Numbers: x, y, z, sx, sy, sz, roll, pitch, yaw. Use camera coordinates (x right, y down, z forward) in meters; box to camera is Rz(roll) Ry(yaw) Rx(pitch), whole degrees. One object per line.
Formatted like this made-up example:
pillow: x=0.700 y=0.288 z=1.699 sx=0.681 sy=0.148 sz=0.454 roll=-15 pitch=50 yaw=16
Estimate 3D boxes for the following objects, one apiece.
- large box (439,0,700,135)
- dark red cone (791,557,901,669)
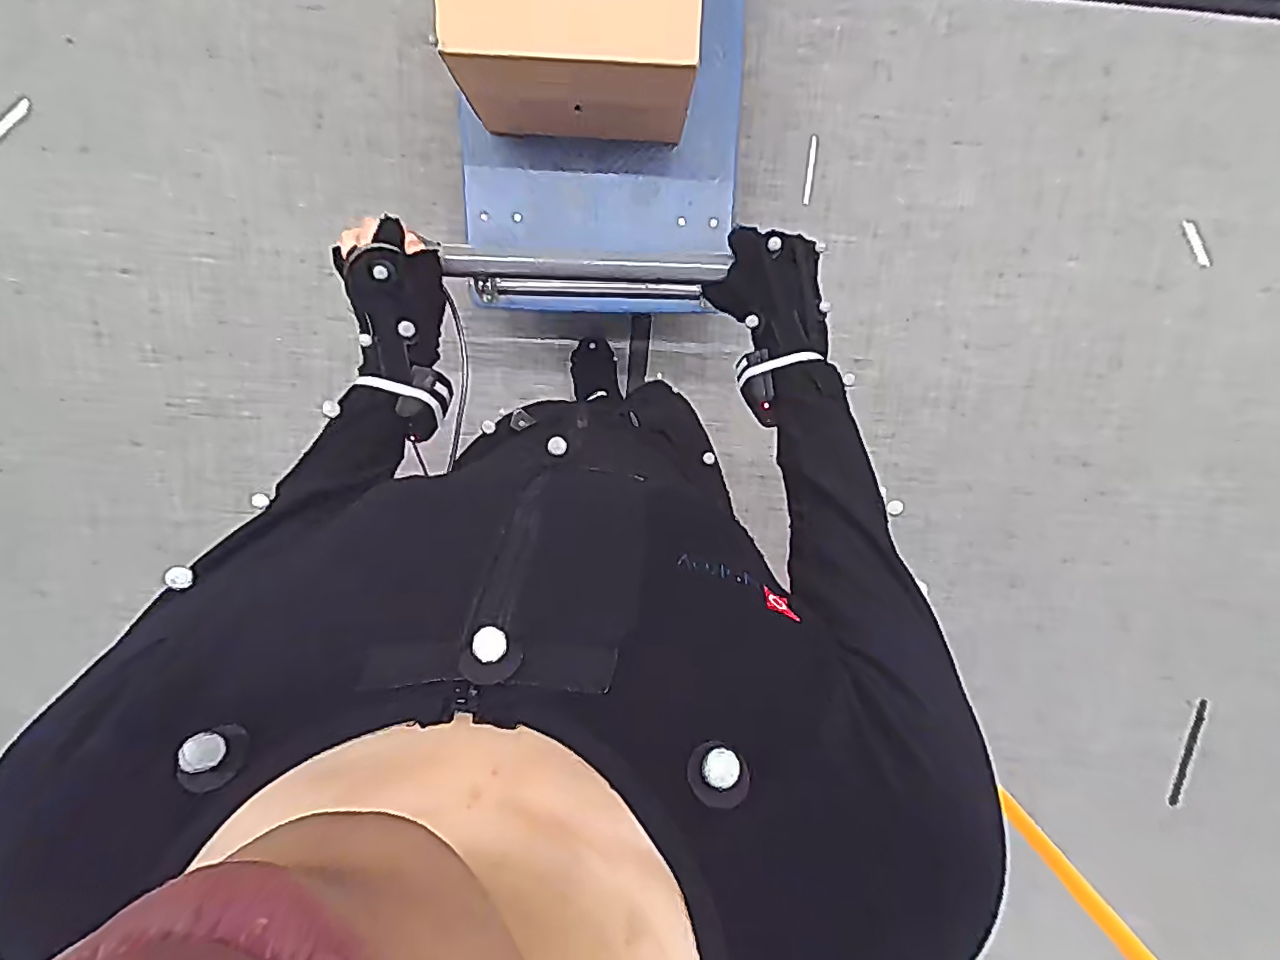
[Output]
large box: x=-0.106 y=-0.836 z=0.948 sx=0.408 sy=0.320 sz=0.320 roll=2 pitch=103 yaw=-1
dark red cone: x=0.541 y=0.355 z=1.370 sx=0.201 sy=0.394 sz=0.202 roll=3 pitch=103 yaw=-4
